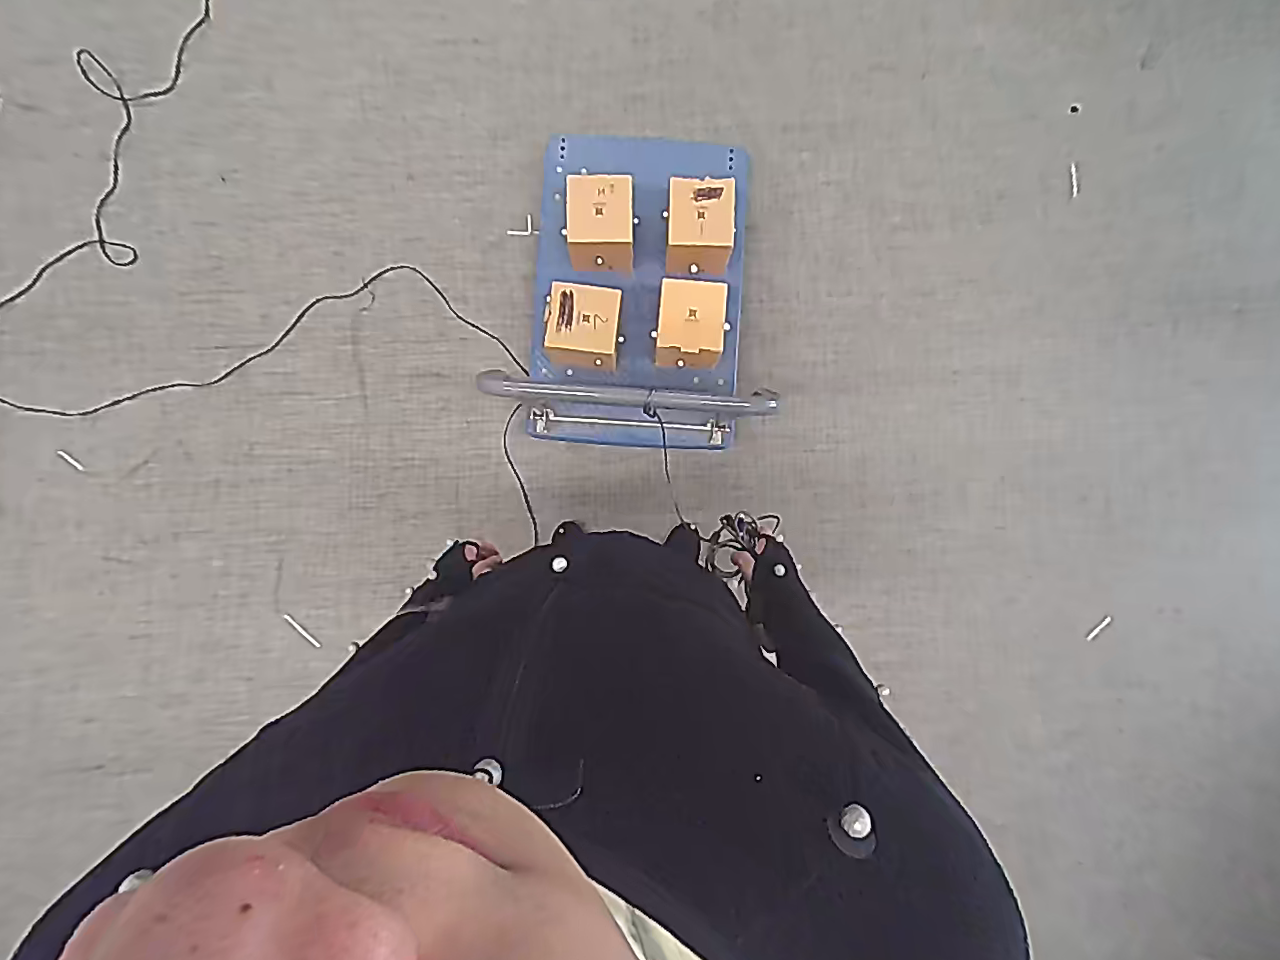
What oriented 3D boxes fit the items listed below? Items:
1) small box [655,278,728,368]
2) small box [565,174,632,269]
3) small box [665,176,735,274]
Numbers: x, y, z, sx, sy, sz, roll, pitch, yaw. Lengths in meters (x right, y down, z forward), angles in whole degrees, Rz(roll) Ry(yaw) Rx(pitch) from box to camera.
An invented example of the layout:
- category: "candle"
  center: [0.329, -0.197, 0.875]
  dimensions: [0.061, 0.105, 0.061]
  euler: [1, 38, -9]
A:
- category: "small box"
  center: [0.129, -0.406, 1.417]
  dimensions: [0.168, 0.176, 0.179]
  euler: [4, 88, 0]
- category: "small box"
  center: [-0.104, -0.673, 1.426]
  dimensions: [0.168, 0.176, 0.179]
  euler: [0, 87, -1]
- category: "small box"
  center: [0.153, -0.668, 1.427]
  dimensions: [0.168, 0.176, 0.179]
  euler: [2, 88, 0]
